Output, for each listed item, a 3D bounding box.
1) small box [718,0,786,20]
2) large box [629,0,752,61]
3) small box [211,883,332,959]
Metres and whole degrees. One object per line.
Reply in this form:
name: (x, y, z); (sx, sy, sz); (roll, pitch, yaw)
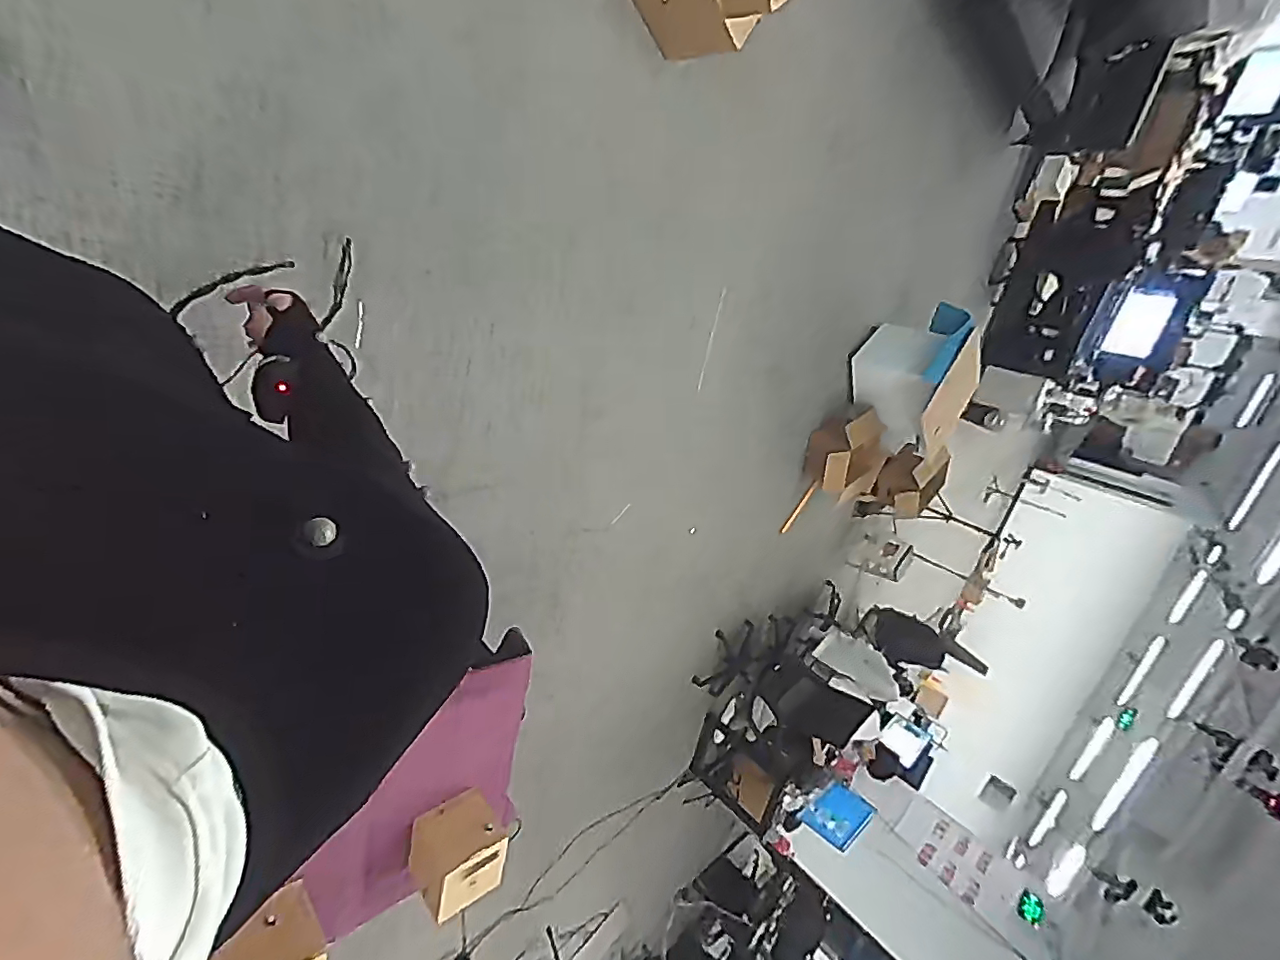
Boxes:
small box: (0.317, -1.384, 1.455); (0.179, 0.176, 0.168); (-47, 139, -15)
large box: (0.145, -1.536, 1.568); (0.408, 0.320, 0.320); (30, 89, -50)
small box: (-0.724, 0.956, 1.061); (0.168, 0.176, 0.179); (-6, 116, -45)
